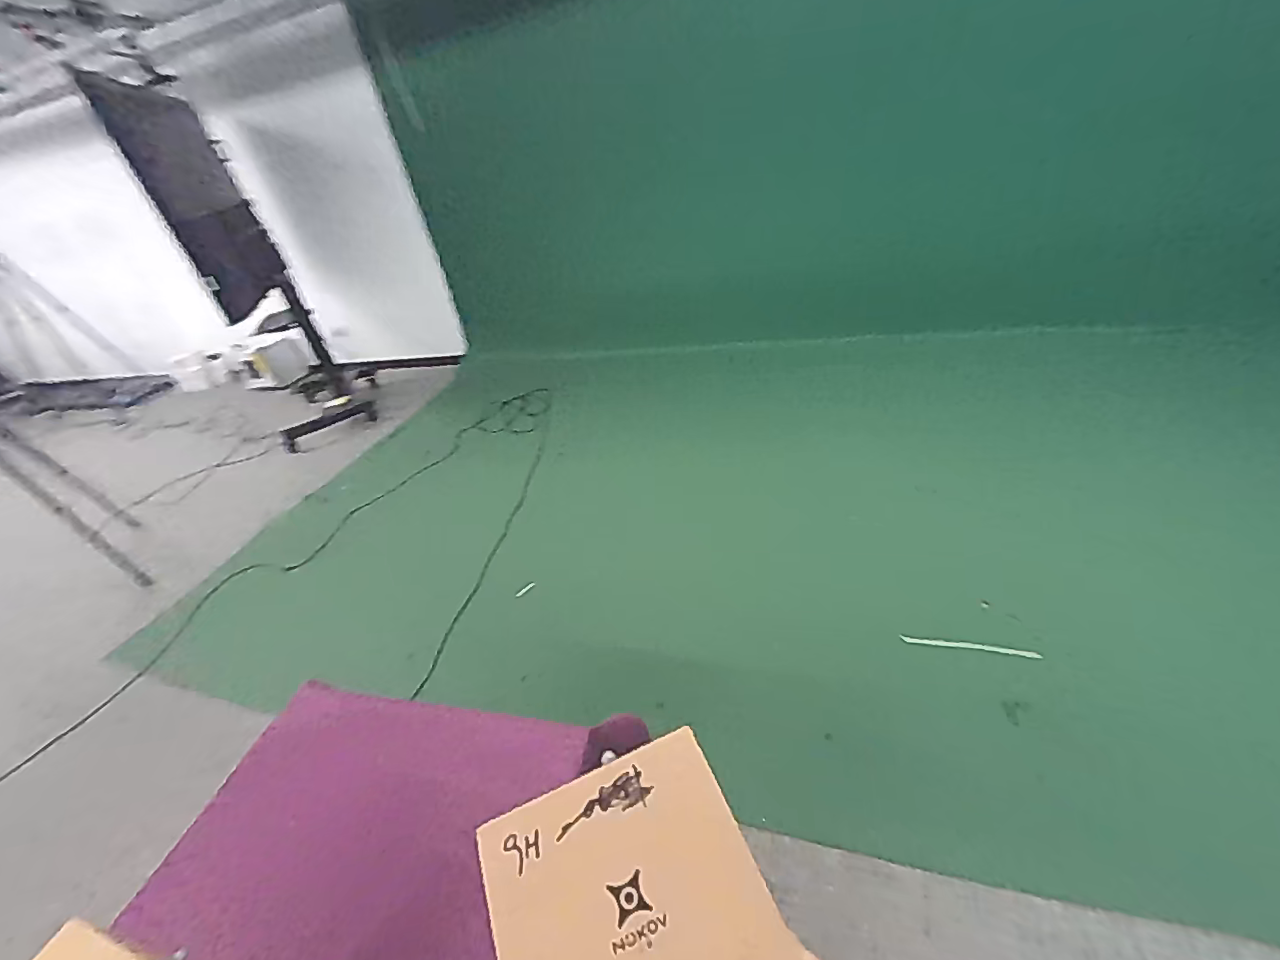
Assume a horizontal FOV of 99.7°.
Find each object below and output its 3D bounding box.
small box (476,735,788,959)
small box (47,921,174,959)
[{"bbox_3d":[0.001,0.325,0.389,0.168,0.176,0.179,-20,48,-11],"label":"small box"},{"bbox_3d":[-0.412,0.496,0.419,0.179,0.176,0.168,2,36,23],"label":"small box"}]
